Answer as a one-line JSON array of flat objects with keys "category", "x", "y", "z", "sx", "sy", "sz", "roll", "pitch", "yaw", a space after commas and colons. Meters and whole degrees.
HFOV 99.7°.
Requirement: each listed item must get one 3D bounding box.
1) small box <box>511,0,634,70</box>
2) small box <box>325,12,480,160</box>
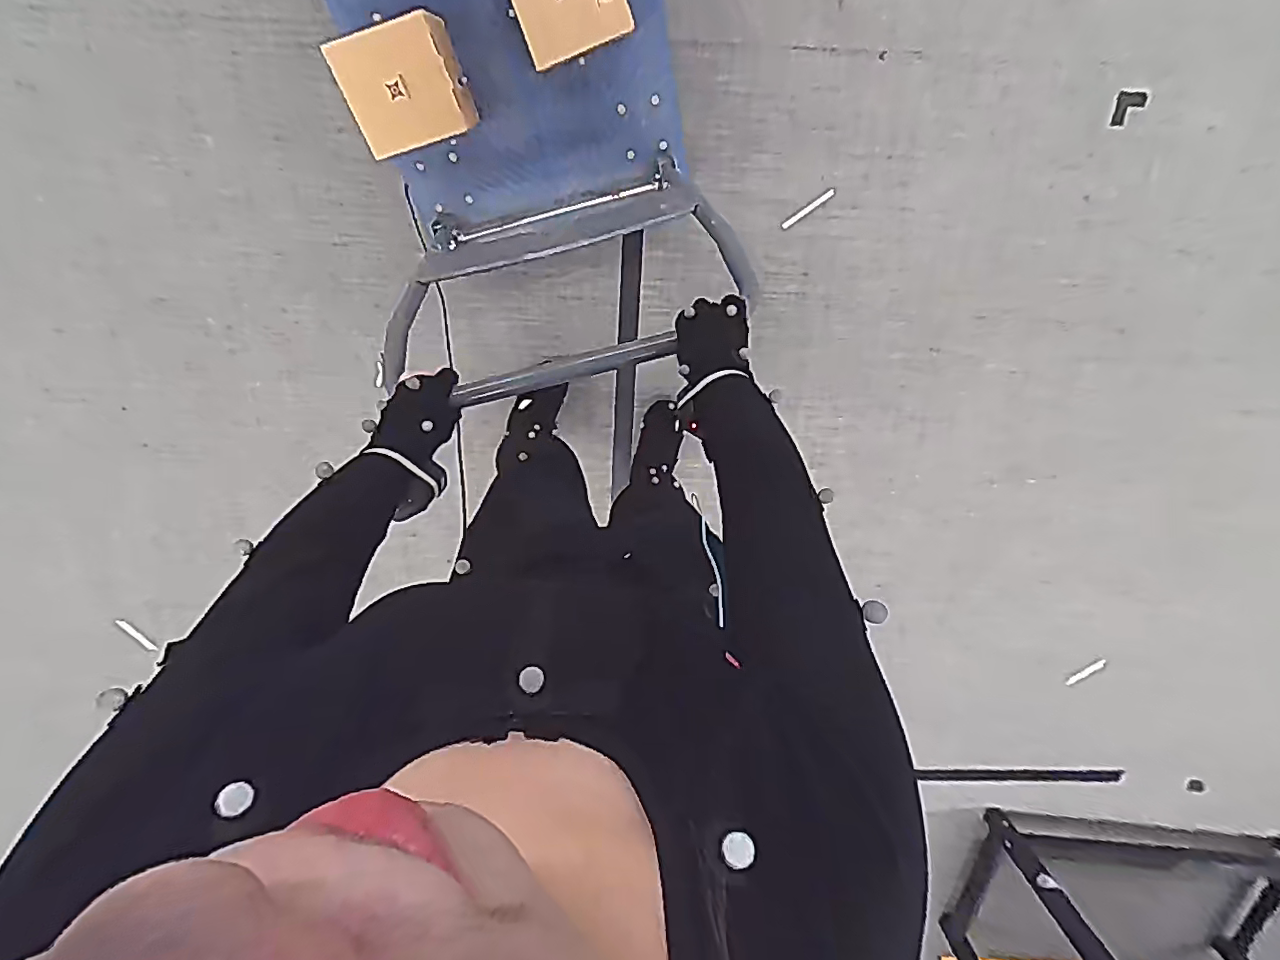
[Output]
[{"category": "small box", "x": -0.120, "y": -0.808, "z": 0.899, "sx": 0.179, "sy": 0.176, "sz": 0.168, "roll": -18, "pitch": 127, "yaw": 7}, {"category": "small box", "x": -0.404, "y": -0.688, "z": 0.954, "sx": 0.179, "sy": 0.176, "sz": 0.168, "roll": -17, "pitch": 127, "yaw": 4}]
